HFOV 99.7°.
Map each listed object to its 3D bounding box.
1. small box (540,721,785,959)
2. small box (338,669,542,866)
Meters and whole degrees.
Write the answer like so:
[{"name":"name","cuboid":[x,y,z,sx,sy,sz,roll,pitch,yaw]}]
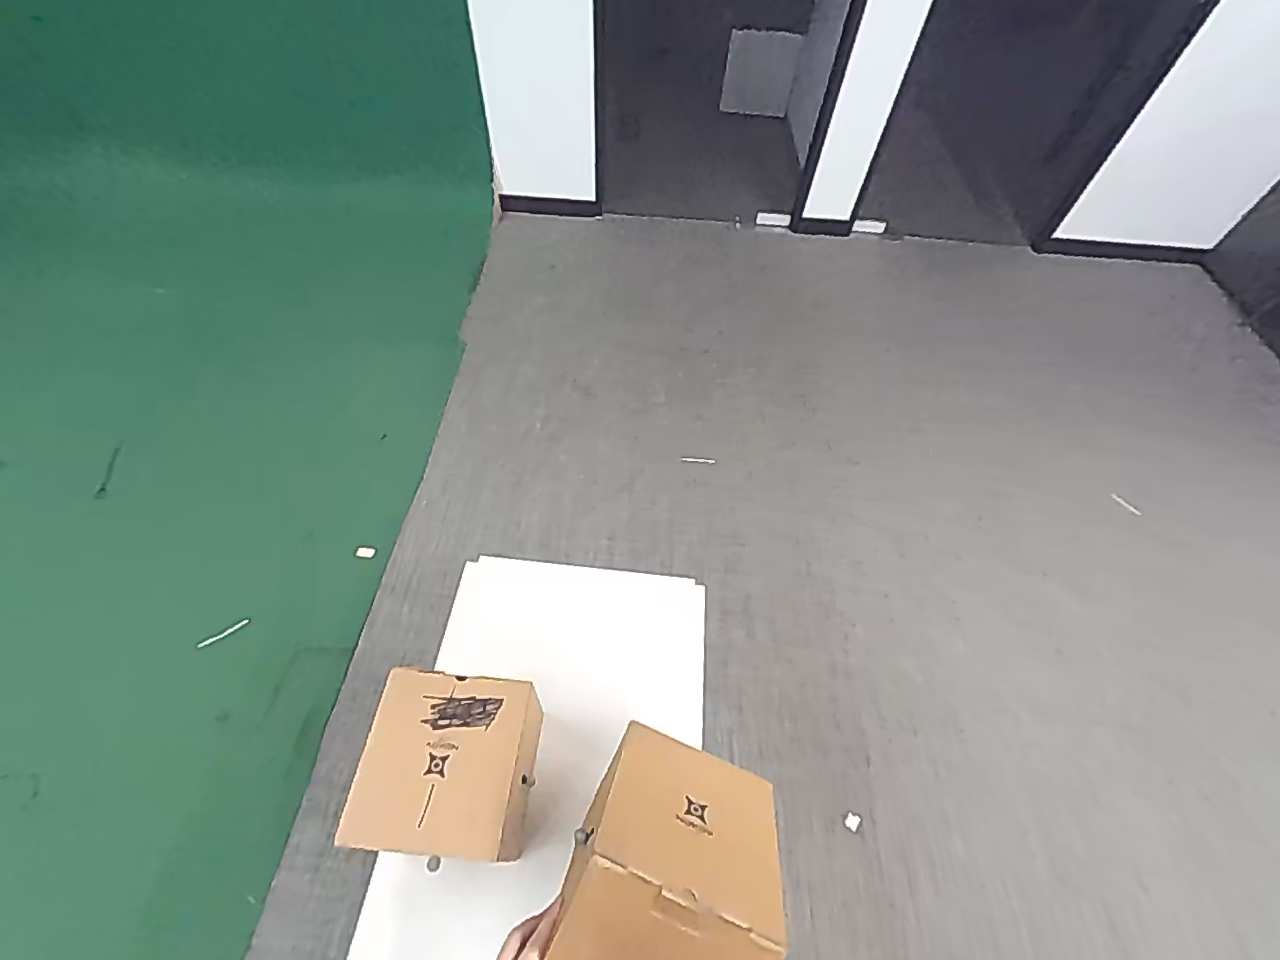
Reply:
[{"name":"small box","cuboid":[0.021,0.382,0.519,0.168,0.176,0.179,22,14,5]},{"name":"small box","cuboid":[-0.217,0.346,0.646,0.168,0.176,0.179,6,56,0]}]
